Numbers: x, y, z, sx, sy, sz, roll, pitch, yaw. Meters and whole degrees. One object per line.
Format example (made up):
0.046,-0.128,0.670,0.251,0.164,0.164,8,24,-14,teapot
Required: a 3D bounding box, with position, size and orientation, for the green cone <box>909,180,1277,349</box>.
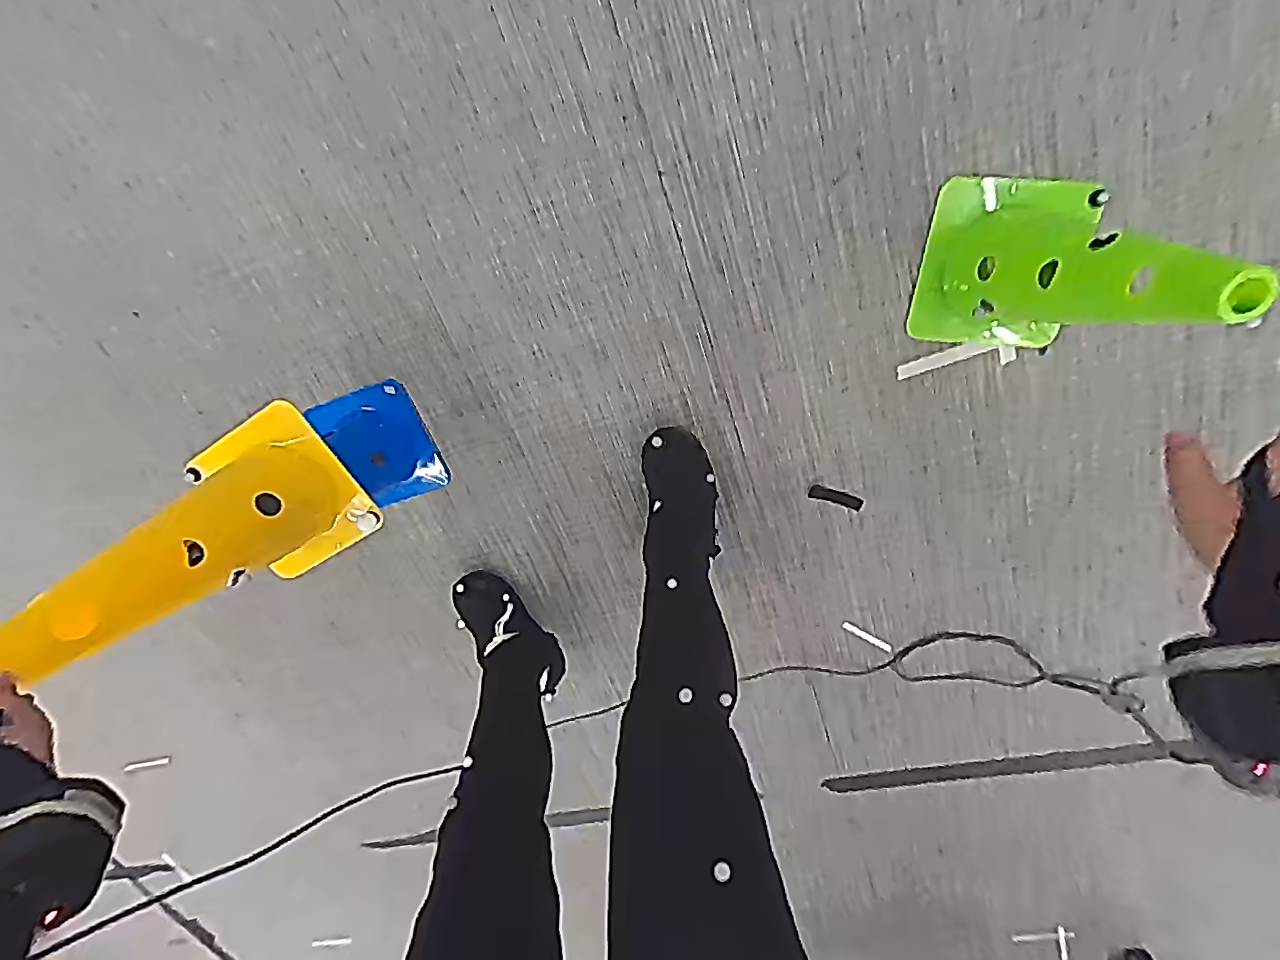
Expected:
0.455,-0.201,0.552,0.200,0.368,0.202,4,116,4,green cone
